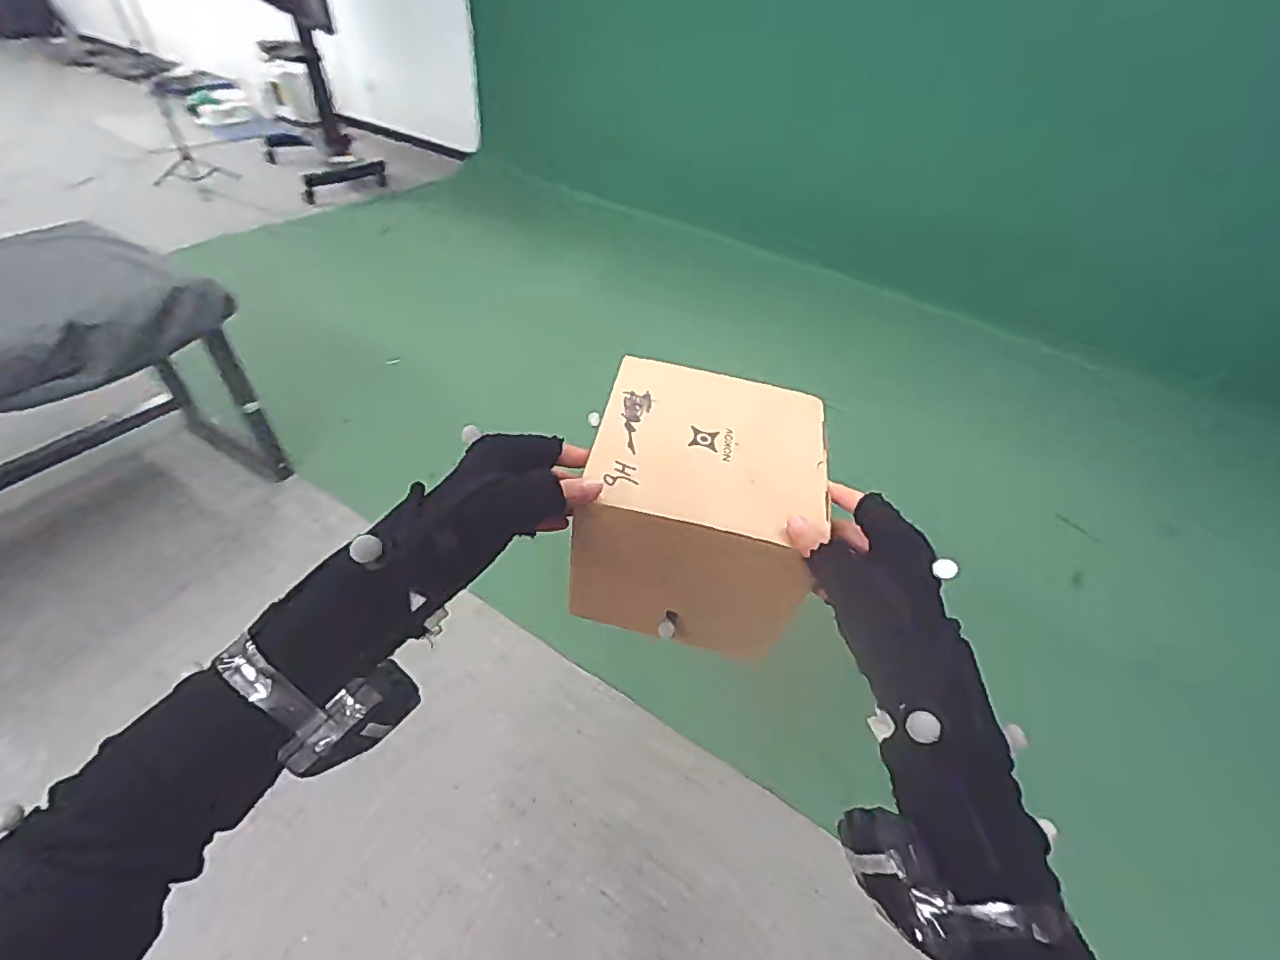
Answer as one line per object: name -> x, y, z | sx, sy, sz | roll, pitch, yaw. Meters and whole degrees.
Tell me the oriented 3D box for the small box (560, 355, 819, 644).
small box -> 0.037, 0.023, 0.473 | 0.179, 0.176, 0.168 | 14, 47, 0
